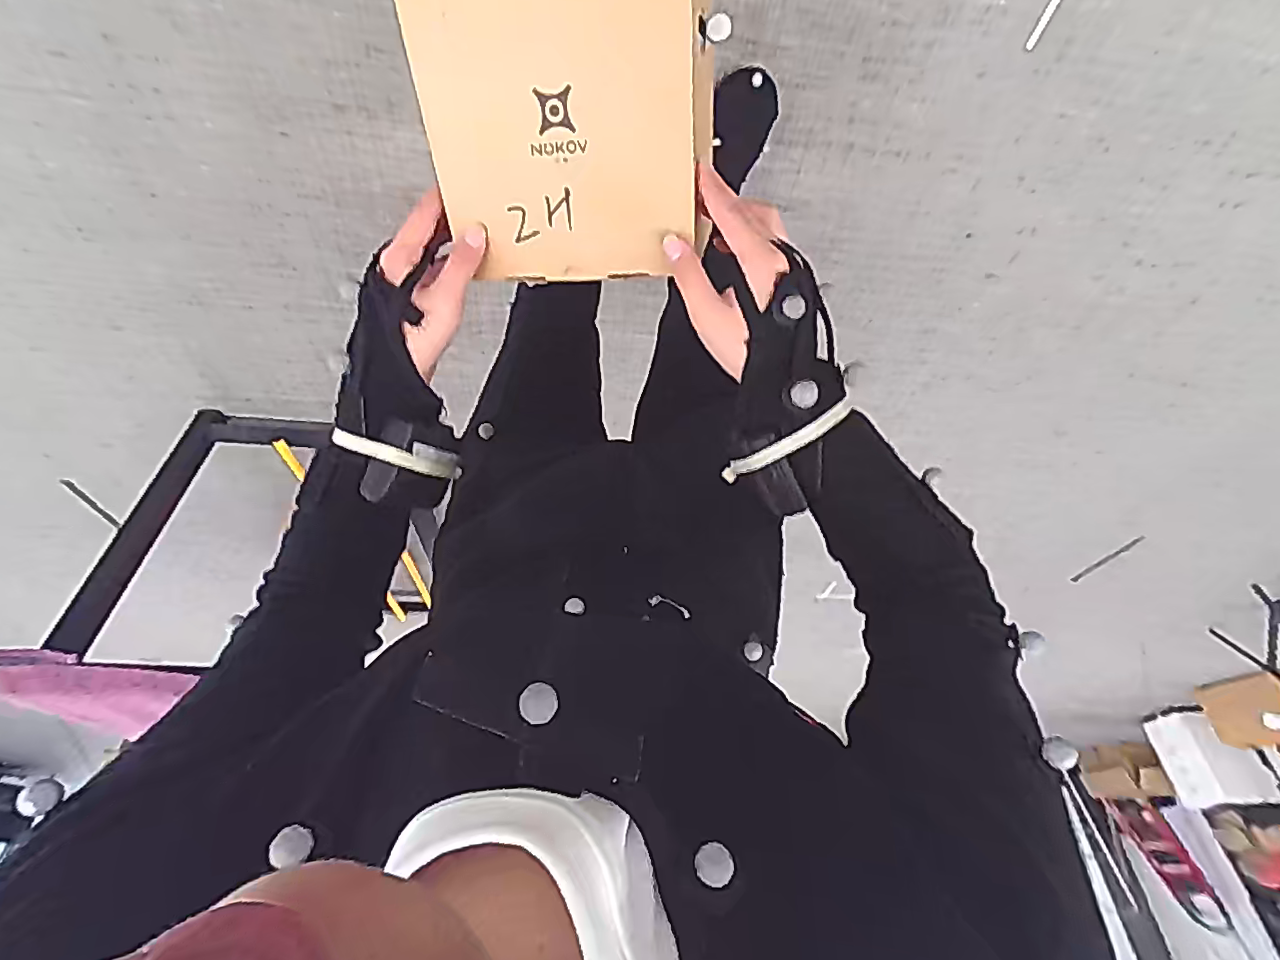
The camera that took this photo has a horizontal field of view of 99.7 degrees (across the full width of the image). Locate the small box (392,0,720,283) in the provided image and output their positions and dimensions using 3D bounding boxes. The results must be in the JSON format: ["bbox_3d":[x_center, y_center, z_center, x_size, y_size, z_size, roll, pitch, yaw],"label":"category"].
[{"bbox_3d":[-0.034,-0.247,0.368,0.168,0.176,0.179,3,126,10],"label":"small box"}]

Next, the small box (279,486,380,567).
[{"bbox_3d":[-0.859,0.129,1.515,0.179,0.176,0.168,2,144,-6],"label":"small box"}]
